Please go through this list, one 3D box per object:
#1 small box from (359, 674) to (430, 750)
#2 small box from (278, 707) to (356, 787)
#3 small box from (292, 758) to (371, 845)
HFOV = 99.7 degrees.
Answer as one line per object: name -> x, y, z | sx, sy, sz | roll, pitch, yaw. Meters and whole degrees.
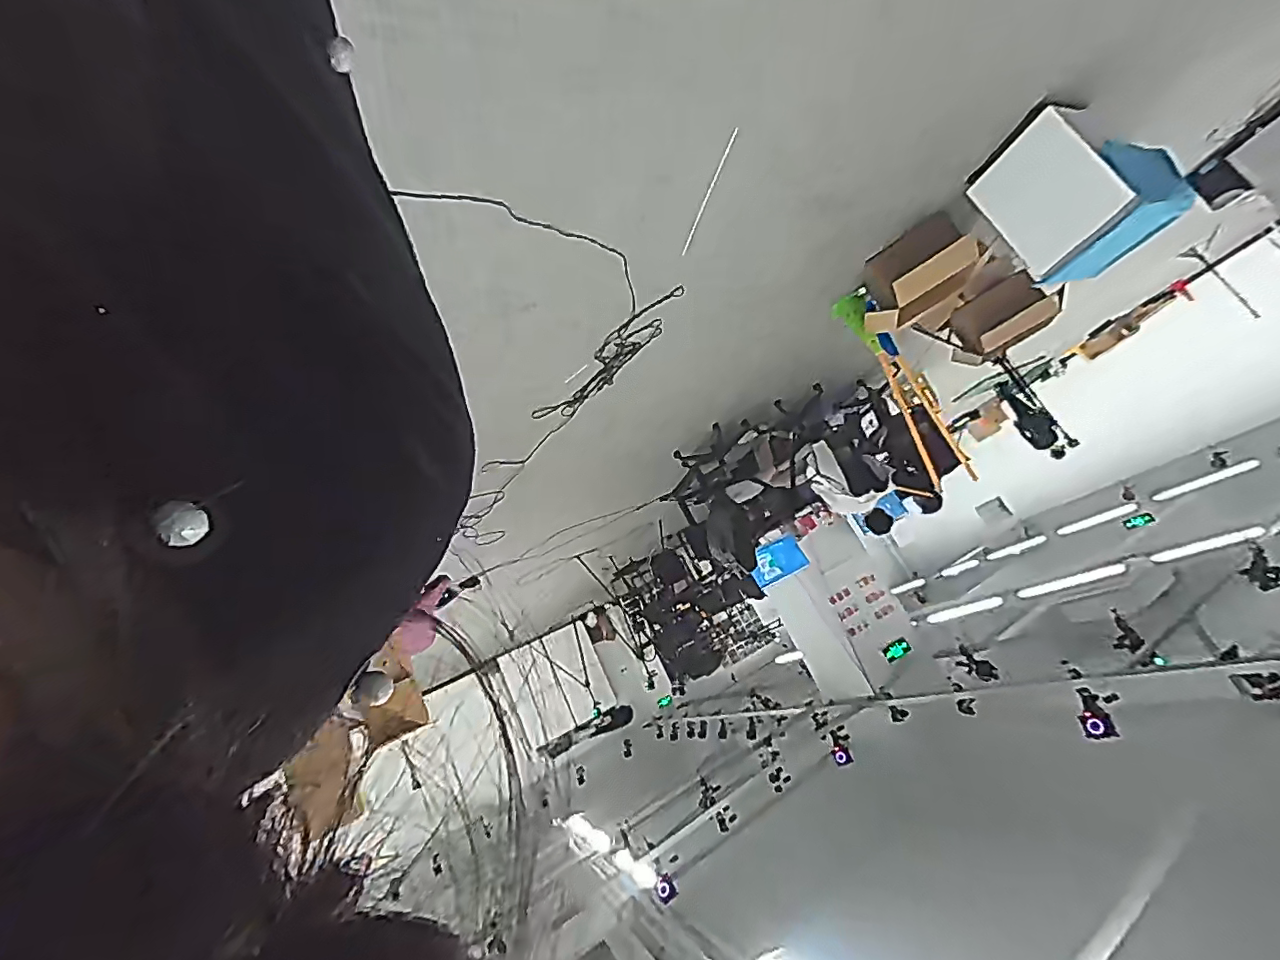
small box -> -0.856, 0.802, 1.872 | 0.179, 0.176, 0.168 | -15, 160, -39
small box -> -1.034, 0.852, 1.730 | 0.179, 0.176, 0.168 | -18, 163, -27
small box -> -0.963, 0.993, 1.687 | 0.179, 0.176, 0.168 | -18, 163, -27
